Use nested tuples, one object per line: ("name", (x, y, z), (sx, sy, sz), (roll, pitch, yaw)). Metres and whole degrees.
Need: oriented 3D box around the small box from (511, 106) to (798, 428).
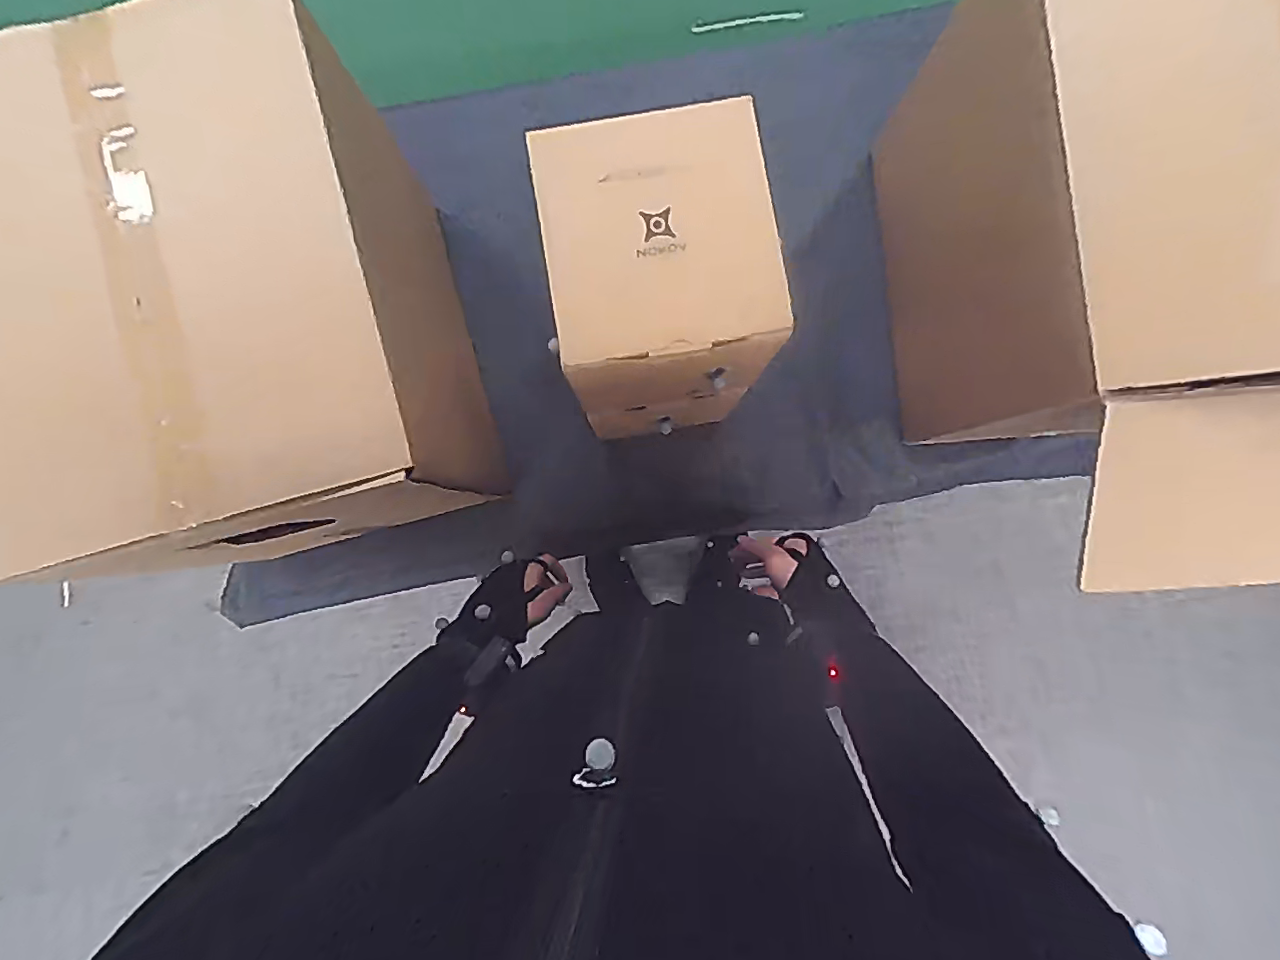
("small box", (0.009, -0.144, 0.432), (0.168, 0.176, 0.179), (-11, 86, -1))
